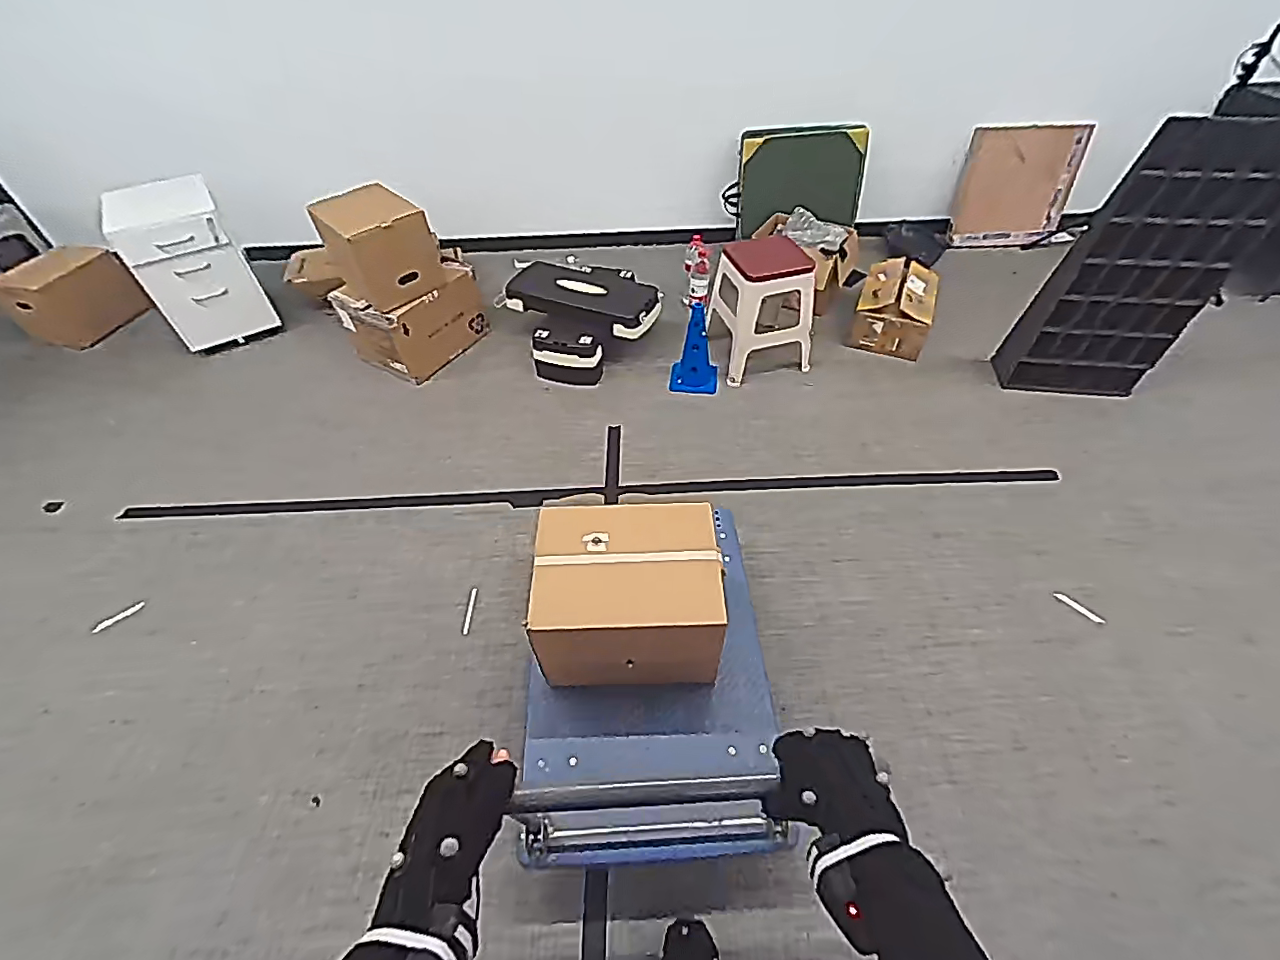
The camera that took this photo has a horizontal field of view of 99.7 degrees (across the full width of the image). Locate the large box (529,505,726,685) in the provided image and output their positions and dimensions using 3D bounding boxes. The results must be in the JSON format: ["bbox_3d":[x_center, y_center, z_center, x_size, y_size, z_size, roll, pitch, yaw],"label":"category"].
[{"bbox_3d":[-0.023,0.281,1.292,0.408,0.320,0.320,-2,49,1],"label":"large box"}]
